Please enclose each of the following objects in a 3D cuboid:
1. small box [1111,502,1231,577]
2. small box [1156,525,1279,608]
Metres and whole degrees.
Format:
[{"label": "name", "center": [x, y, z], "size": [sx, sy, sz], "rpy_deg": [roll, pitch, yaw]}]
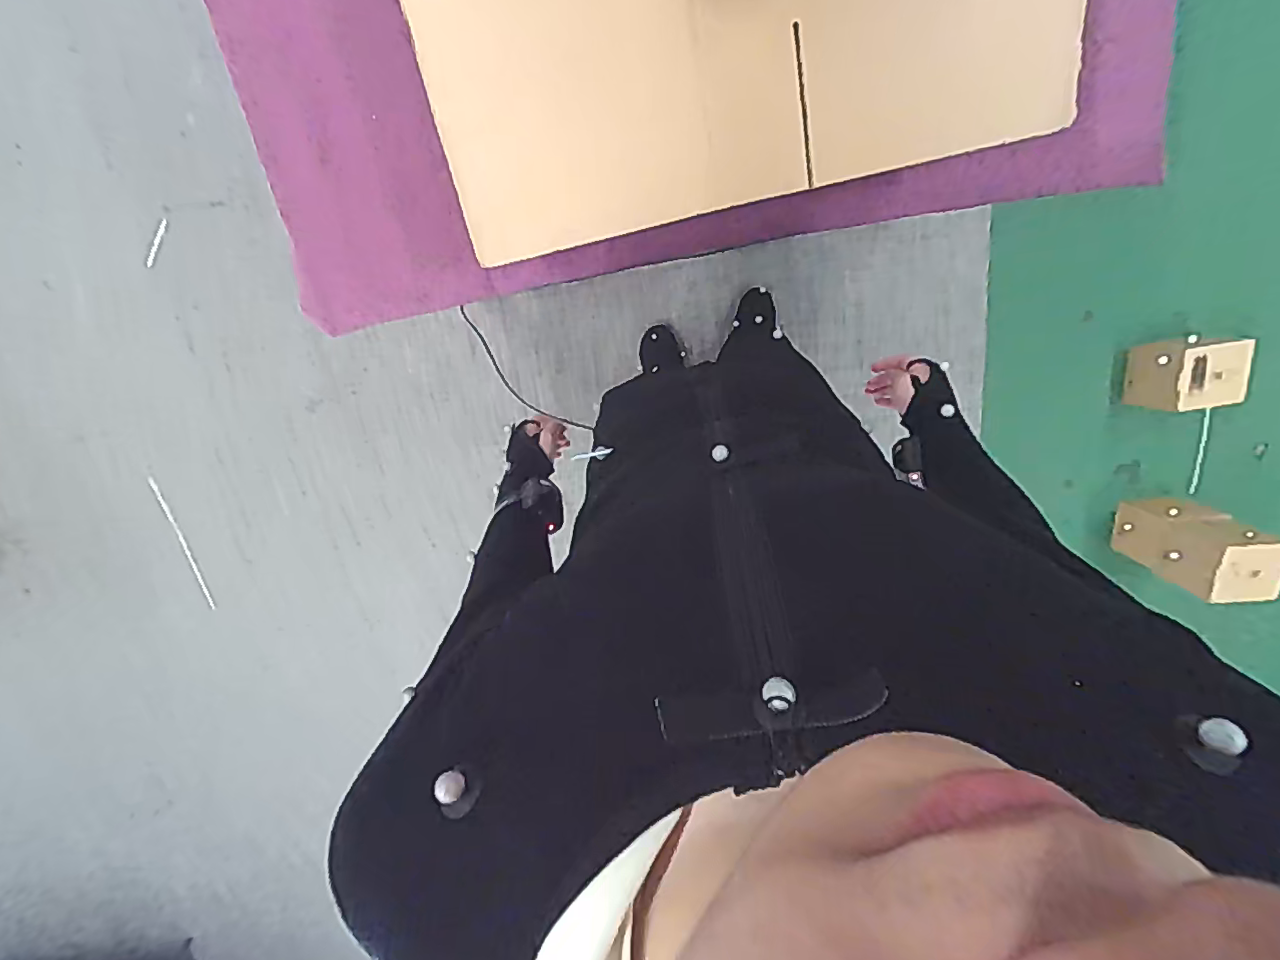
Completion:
[{"label": "small box", "center": [1.576, 0.173, 1.614], "size": [0.179, 0.176, 0.168], "rpy_deg": [-5, 108, 3]}, {"label": "small box", "center": [1.571, 0.228, 1.459], "size": [0.179, 0.176, 0.168], "rpy_deg": [-3, 108, 2]}]
